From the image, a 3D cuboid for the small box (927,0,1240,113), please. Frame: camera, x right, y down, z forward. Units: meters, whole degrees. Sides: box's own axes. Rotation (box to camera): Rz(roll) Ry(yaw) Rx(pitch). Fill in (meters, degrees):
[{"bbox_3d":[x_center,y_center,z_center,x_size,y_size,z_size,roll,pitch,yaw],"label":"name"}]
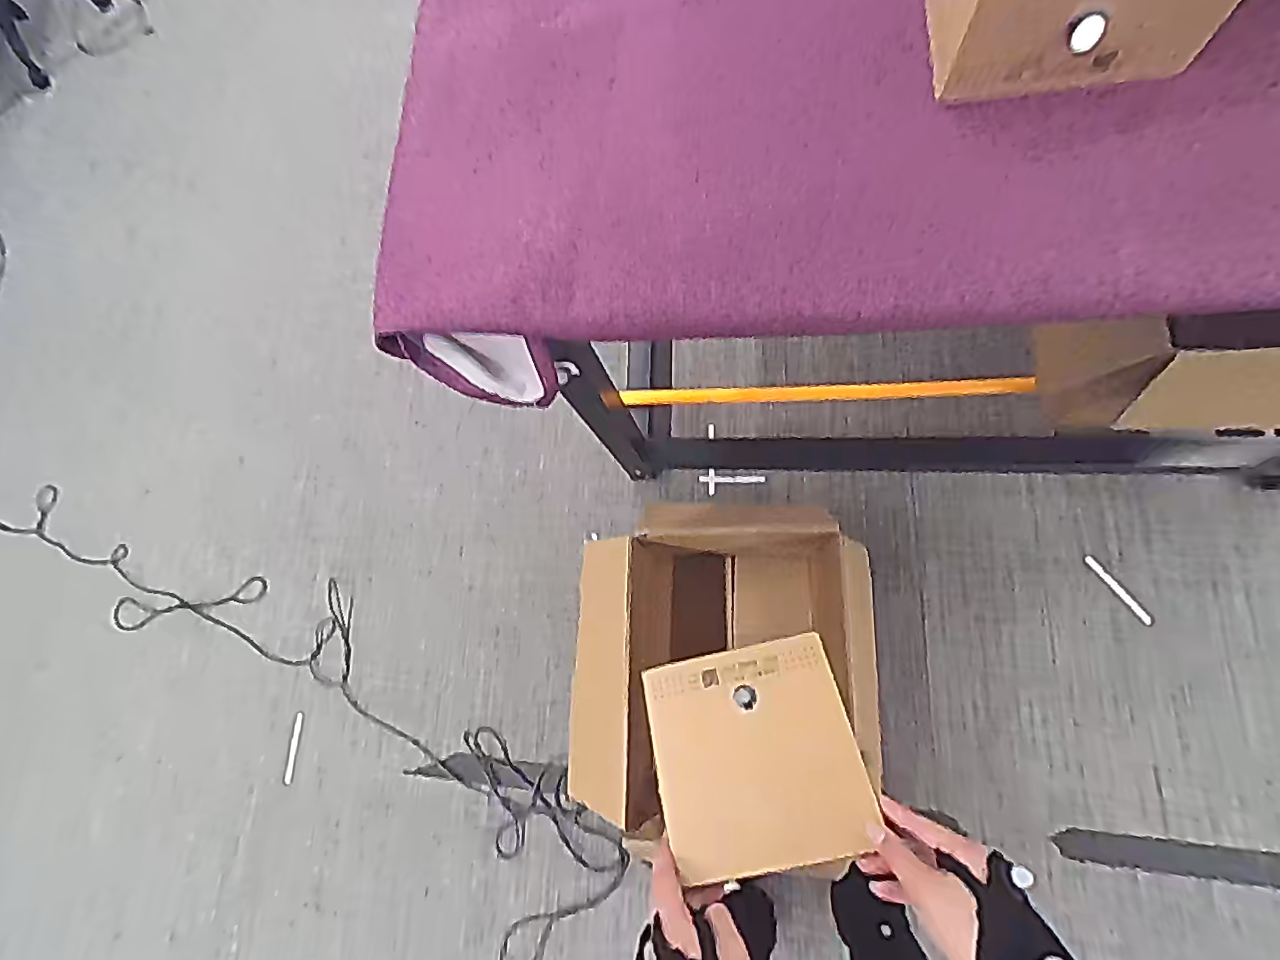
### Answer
[{"bbox_3d":[0.306,-0.393,0.361,0.168,0.176,0.179,0,76,11],"label":"small box"}]
